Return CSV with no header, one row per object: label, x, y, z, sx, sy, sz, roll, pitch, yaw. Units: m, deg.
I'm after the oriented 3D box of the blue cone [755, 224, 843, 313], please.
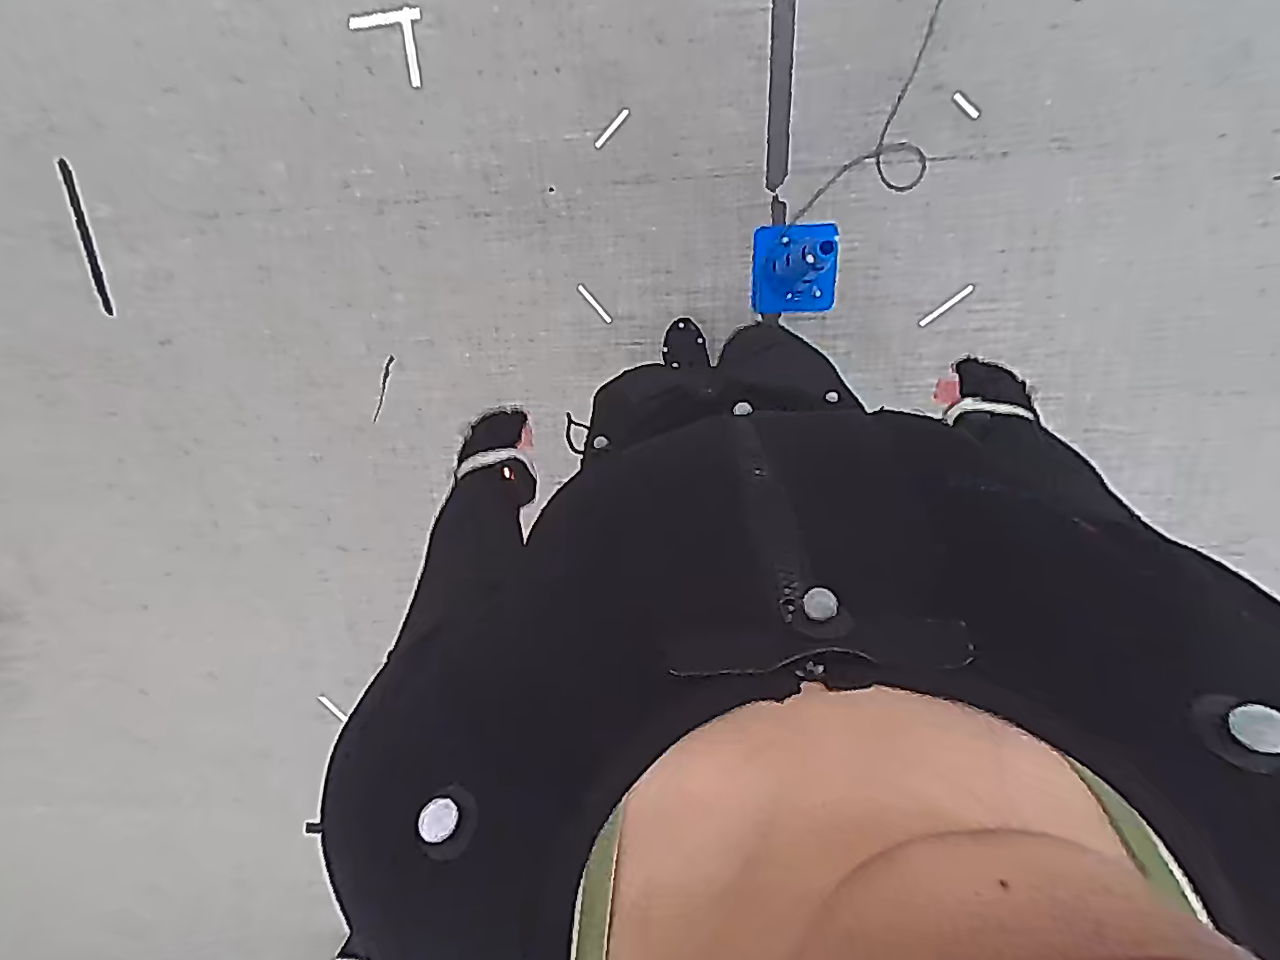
blue cone,0.358,-0.462,1.135,0.193,0.380,0.192,-2,105,5
